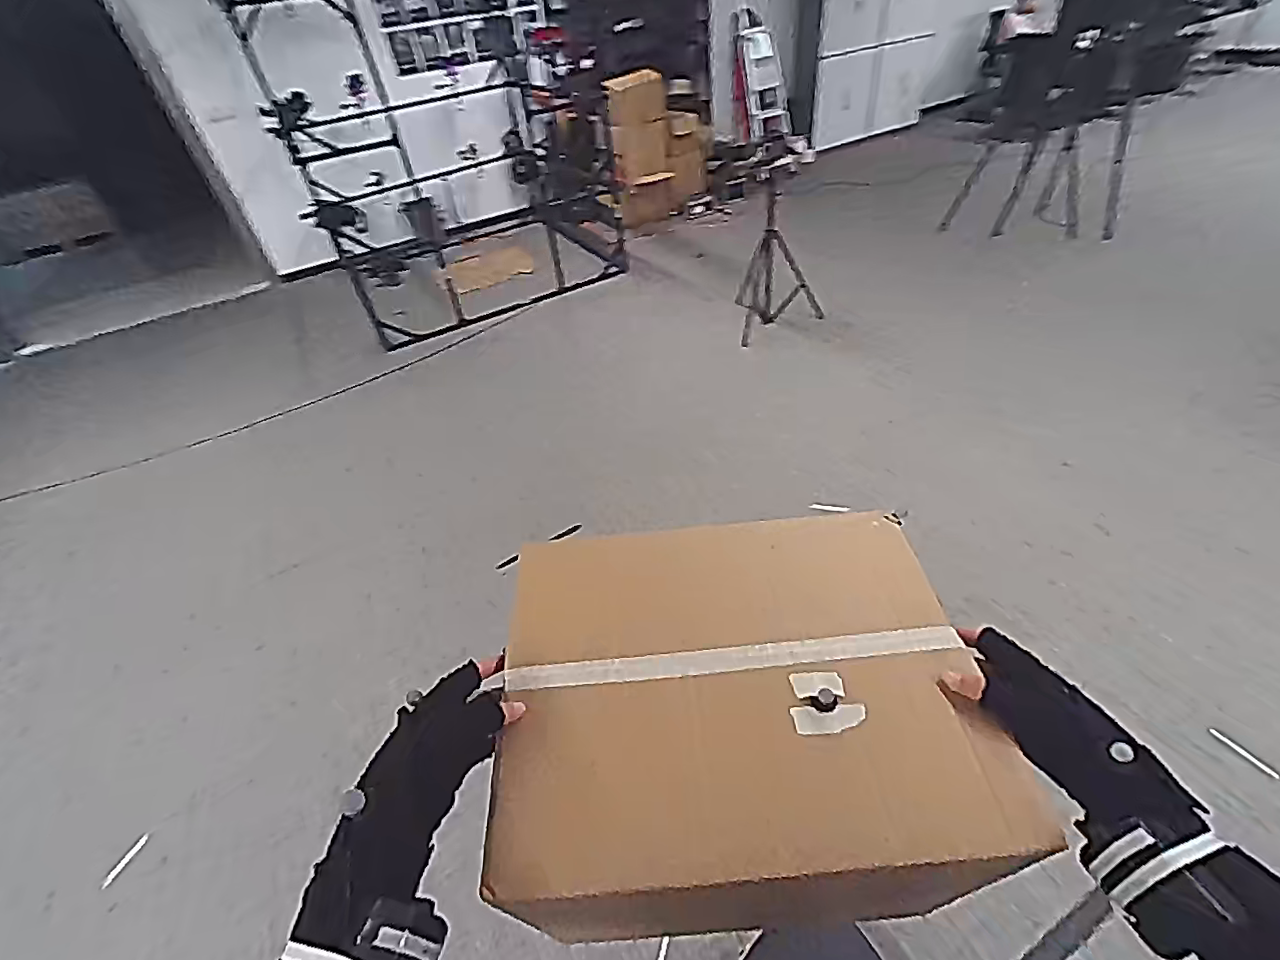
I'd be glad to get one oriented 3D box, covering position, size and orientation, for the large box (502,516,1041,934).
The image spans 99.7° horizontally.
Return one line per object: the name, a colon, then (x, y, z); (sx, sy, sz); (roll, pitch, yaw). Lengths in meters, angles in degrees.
large box: (0.094, 0.270, 0.598); (0.408, 0.320, 0.320); (-5, 45, 0)
